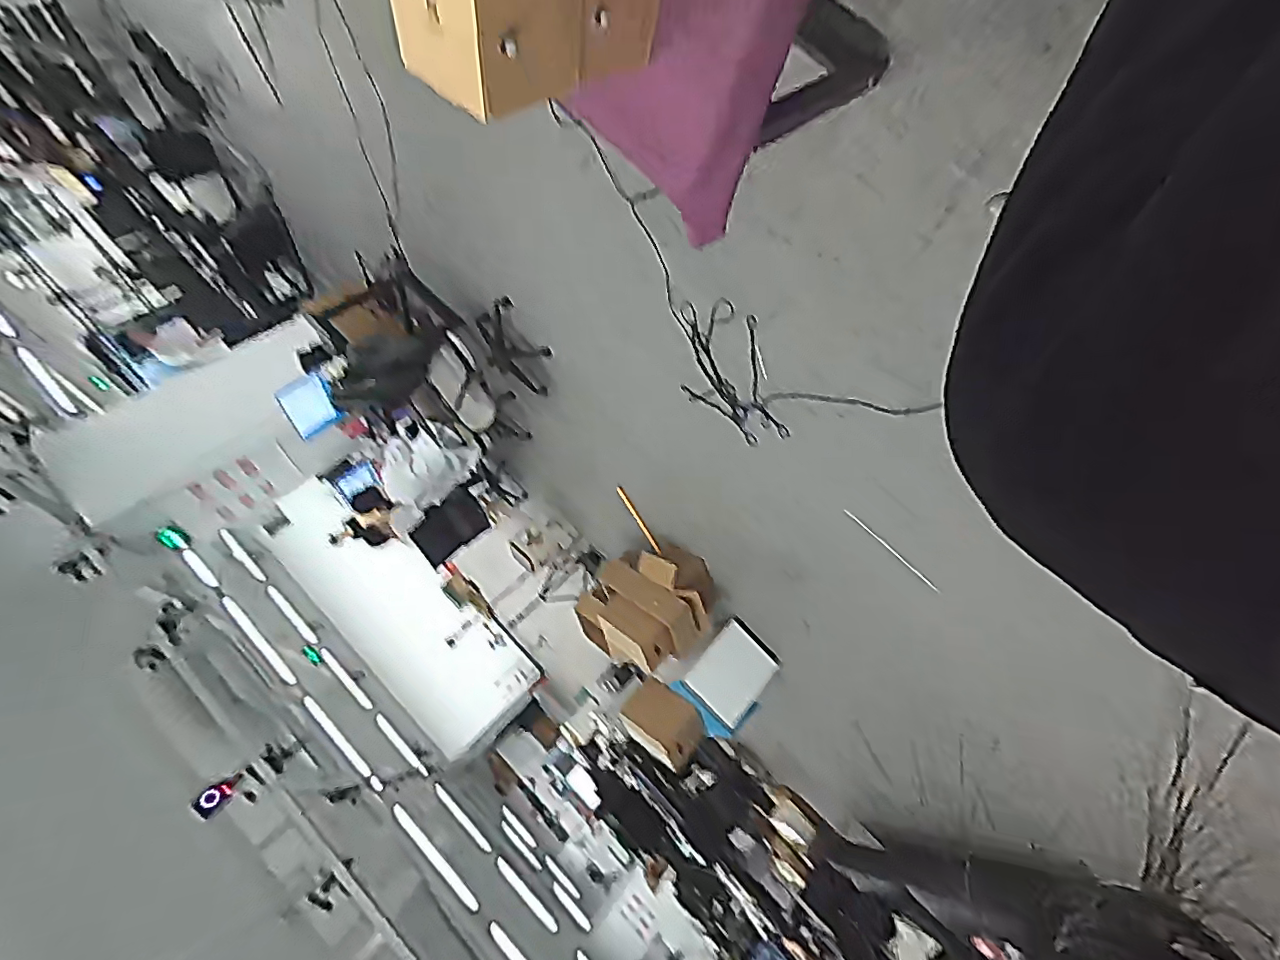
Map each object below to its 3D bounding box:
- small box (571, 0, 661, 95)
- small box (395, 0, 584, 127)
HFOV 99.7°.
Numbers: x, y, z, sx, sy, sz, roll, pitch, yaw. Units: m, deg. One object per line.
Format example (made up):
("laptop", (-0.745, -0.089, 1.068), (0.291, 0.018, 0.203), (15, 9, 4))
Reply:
("small box", (-0.079, -0.688, 0.751), (0.168, 0.176, 0.179), (42, 152, 13))
("small box", (-0.183, -0.592, 0.673), (0.168, 0.176, 0.179), (40, 153, 14))
